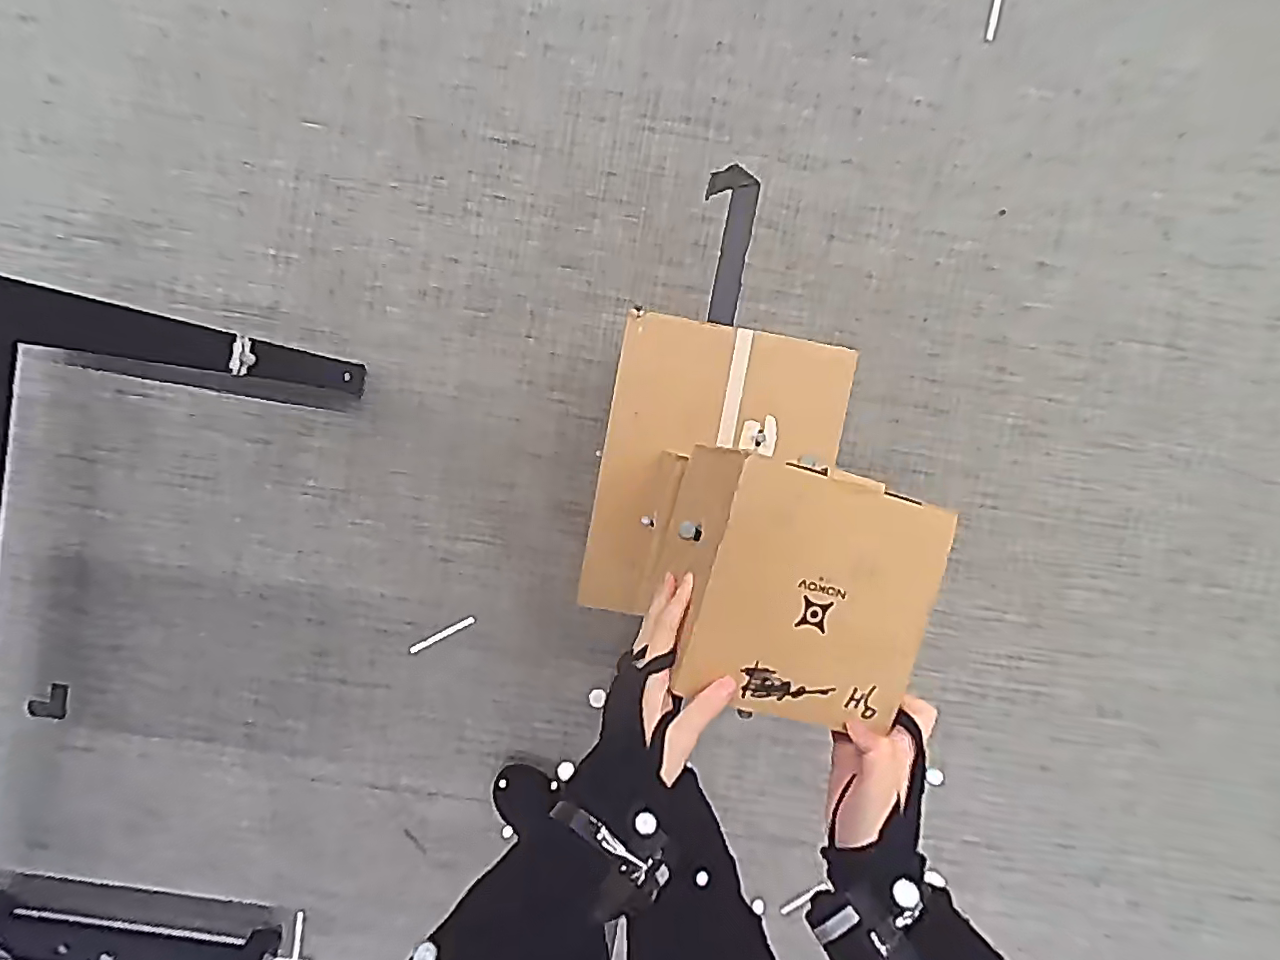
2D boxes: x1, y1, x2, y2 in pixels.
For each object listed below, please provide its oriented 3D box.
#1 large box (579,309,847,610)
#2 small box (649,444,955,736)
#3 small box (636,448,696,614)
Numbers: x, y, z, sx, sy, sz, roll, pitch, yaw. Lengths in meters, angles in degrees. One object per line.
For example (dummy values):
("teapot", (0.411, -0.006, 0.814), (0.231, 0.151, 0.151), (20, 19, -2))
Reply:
("large box", (0.094, -0.015, 0.874), (0.320, 0.320, 0.408), (10, 93, -3))
("small box", (0.113, 0.073, 0.452), (0.168, 0.176, 0.179), (16, 93, -8))
("small box", (0.092, 0.064, 0.633), (0.168, 0.176, 0.179), (14, 94, -1))
